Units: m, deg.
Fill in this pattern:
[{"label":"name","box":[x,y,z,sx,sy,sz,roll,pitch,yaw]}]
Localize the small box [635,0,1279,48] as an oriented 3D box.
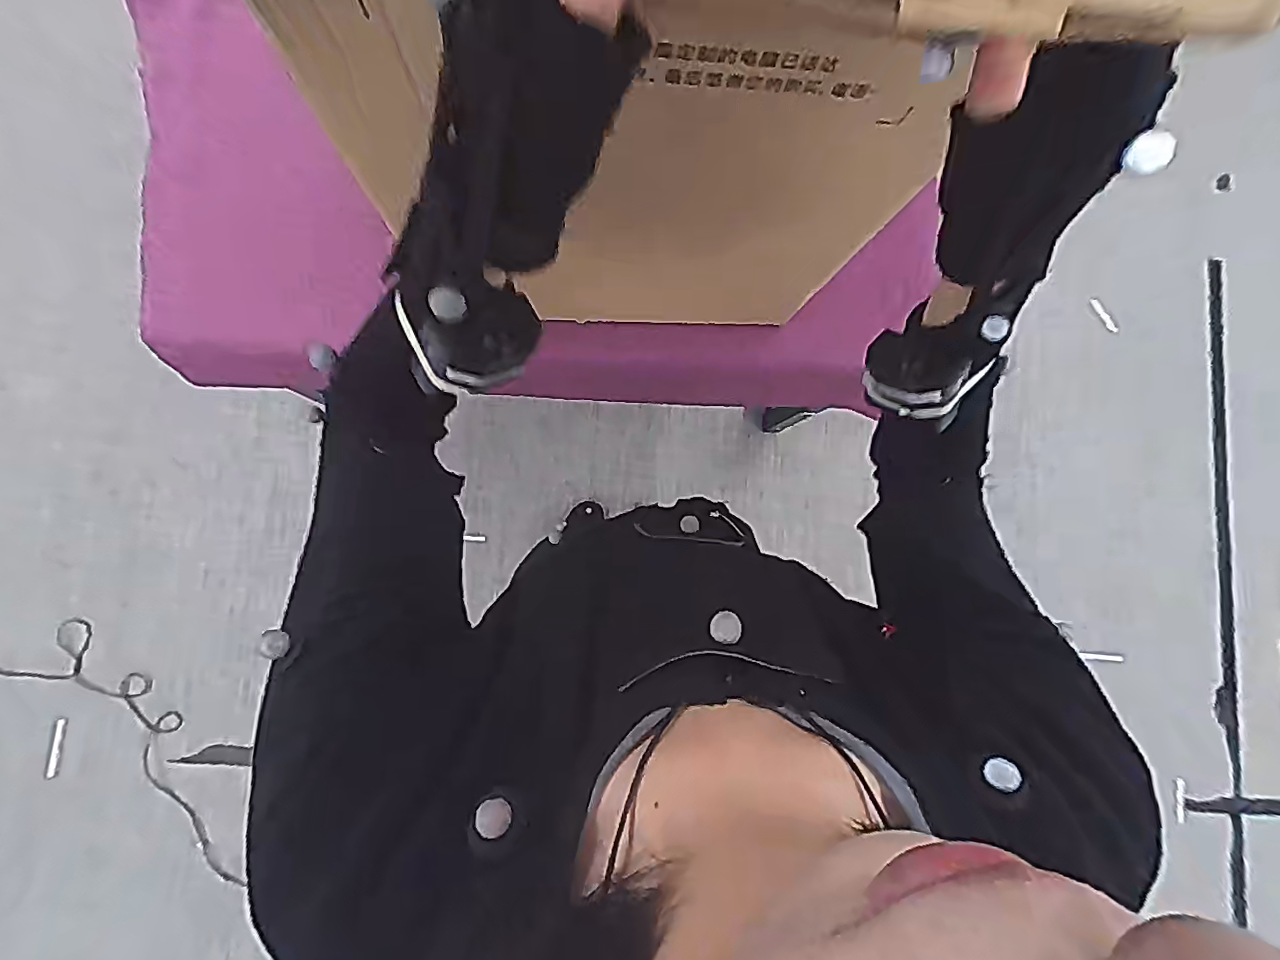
[{"label":"small box","box":[0.079,-0.228,0.137,0.168,0.176,0.179,-2,127,-9]}]
